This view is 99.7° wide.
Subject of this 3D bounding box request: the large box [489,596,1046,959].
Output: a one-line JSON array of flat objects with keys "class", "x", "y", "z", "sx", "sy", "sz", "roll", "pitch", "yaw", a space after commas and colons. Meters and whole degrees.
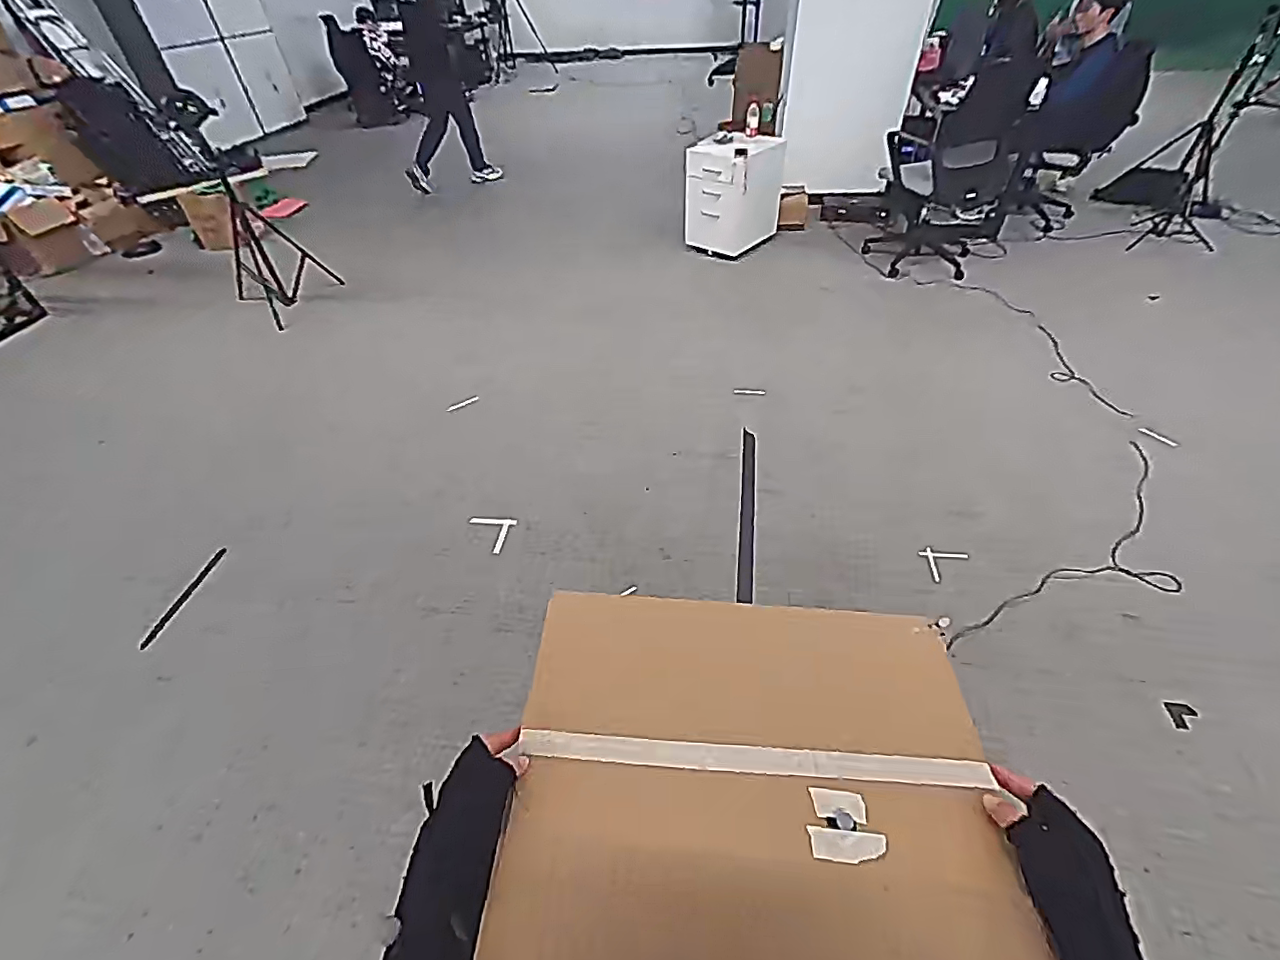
[{"class": "large box", "x": 0.094, "y": 0.349, "z": 0.580, "sx": 0.408, "sy": 0.320, "sz": 0.320, "roll": 4, "pitch": 46, "yaw": 2}]
